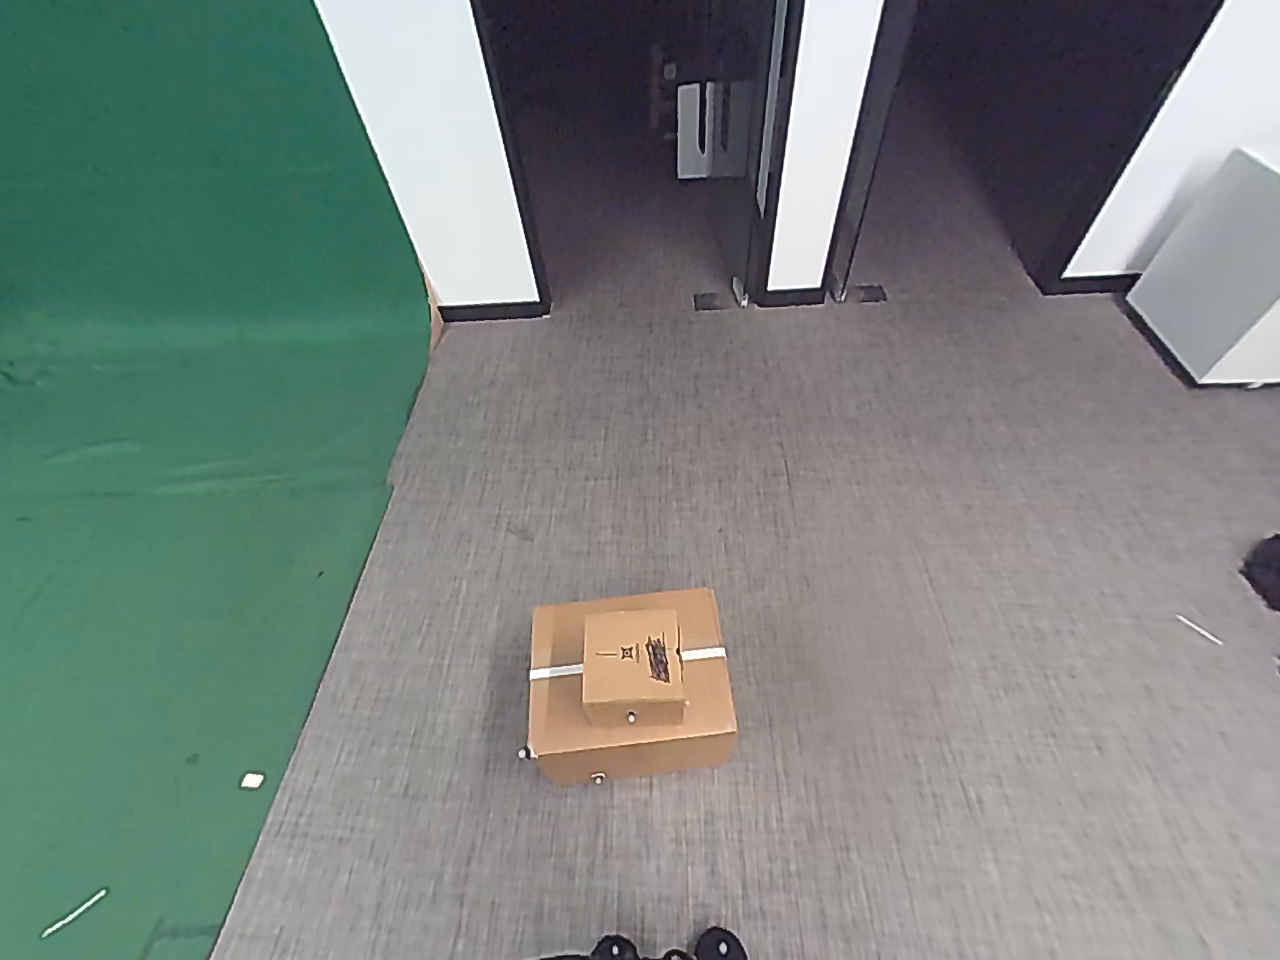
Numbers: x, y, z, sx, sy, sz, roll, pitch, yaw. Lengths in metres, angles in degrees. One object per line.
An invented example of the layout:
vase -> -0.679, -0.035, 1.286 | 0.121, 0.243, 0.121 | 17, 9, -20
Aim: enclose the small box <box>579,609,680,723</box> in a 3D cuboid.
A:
small box -> -0.016, 0.359, 1.037 | 0.179, 0.176, 0.168 | -4, 52, 2
